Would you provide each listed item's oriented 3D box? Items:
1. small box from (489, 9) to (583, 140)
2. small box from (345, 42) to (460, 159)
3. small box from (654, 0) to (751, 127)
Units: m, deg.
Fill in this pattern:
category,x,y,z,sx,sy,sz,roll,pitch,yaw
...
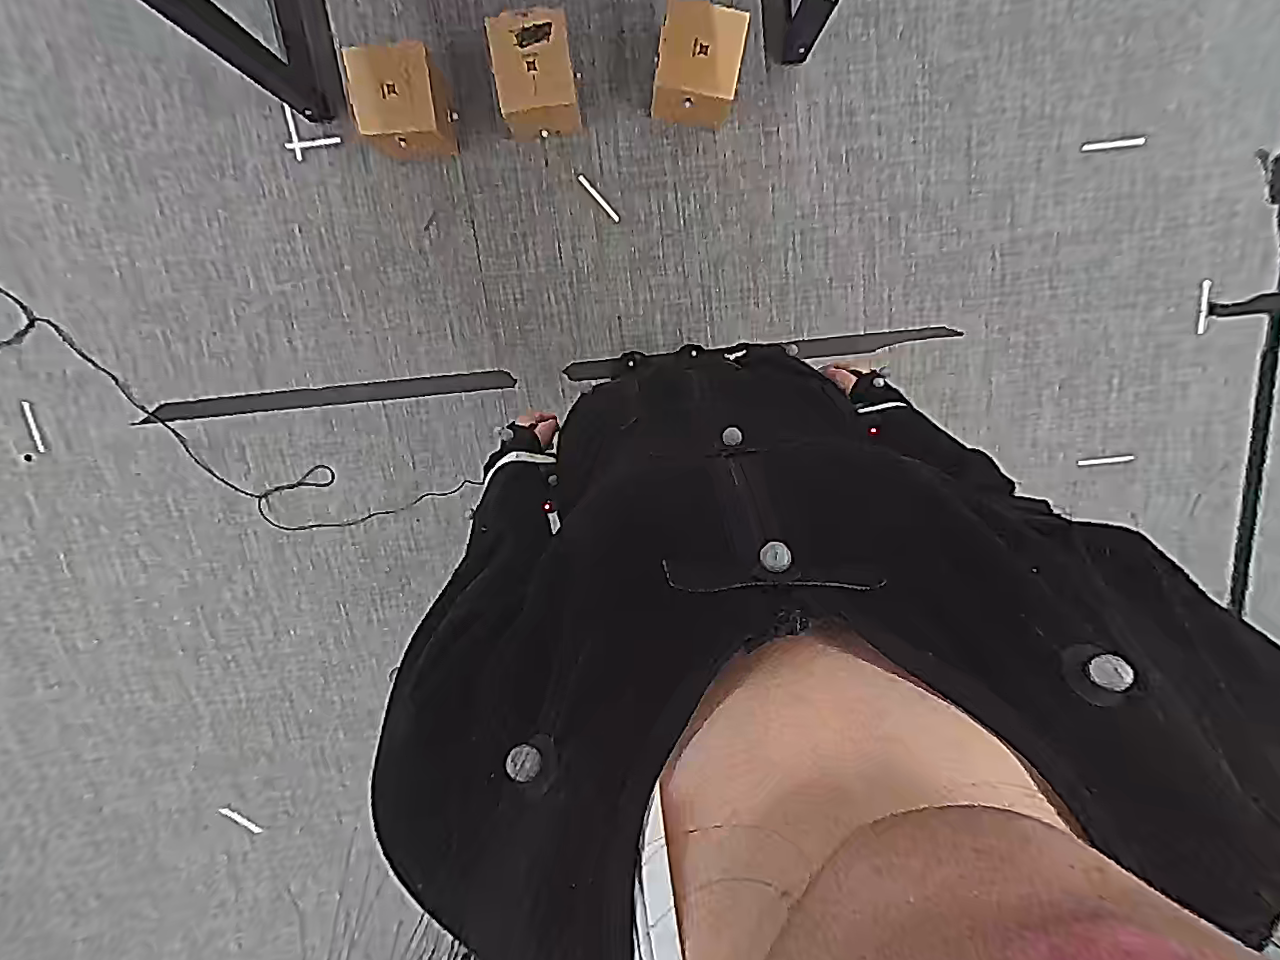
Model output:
category,x,y,z,sx,sy,sz,roll,pitch,yaw
small box,-0.225,-0.896,1.209,0.168,0.176,0.179,-7,104,1
small box,-0.526,-0.845,1.221,0.179,0.176,0.168,-4,104,-1
small box,0.131,-0.919,1.209,0.179,0.176,0.168,10,104,-2
